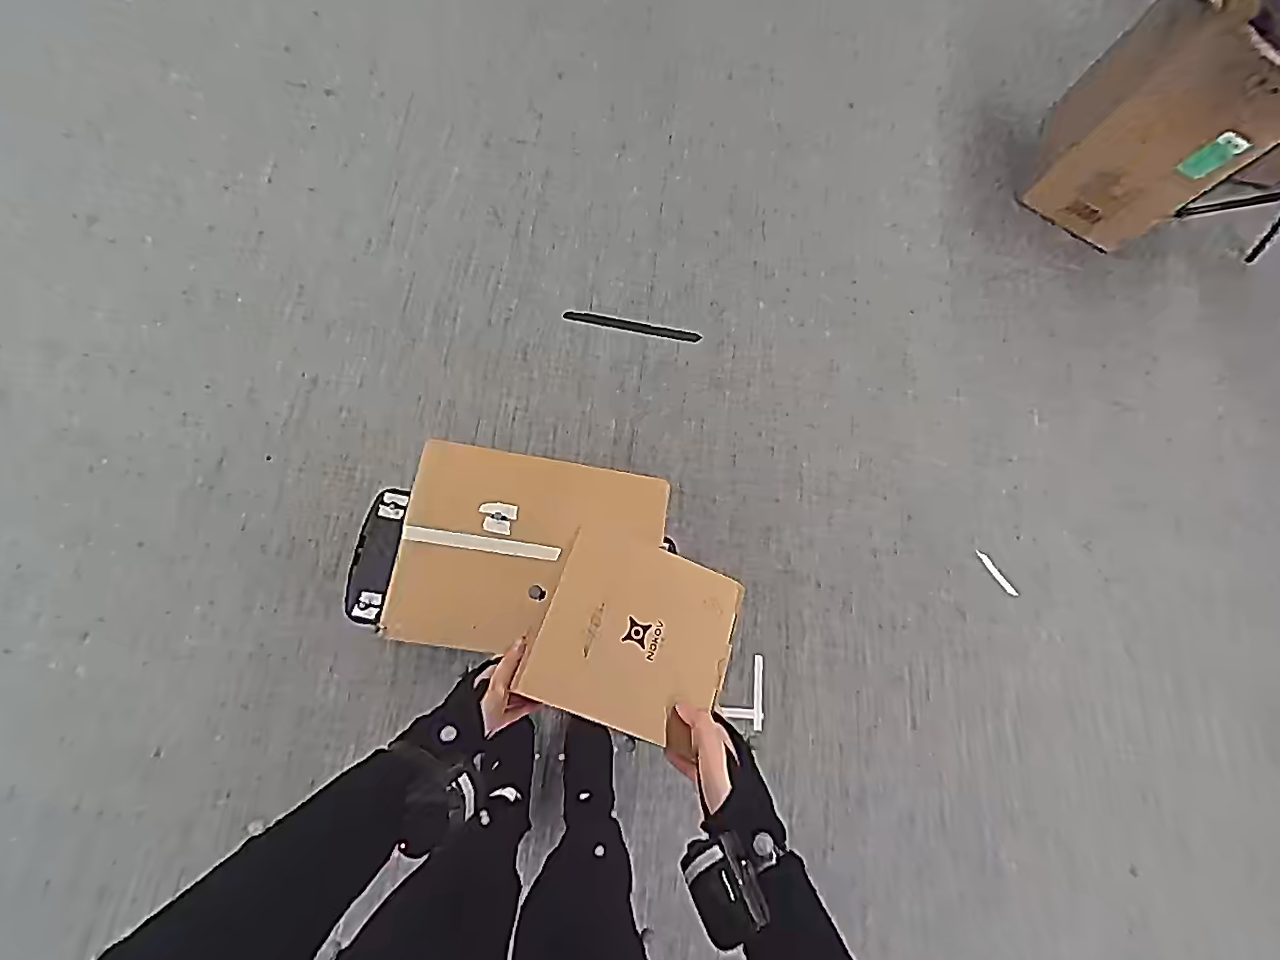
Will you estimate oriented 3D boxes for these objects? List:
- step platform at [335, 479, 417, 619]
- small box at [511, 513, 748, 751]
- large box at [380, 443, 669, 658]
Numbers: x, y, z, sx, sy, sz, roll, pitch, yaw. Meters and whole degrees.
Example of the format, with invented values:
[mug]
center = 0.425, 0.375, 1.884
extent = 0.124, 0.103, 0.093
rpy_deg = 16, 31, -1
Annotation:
[step platform]
center = -0.278, 0.222, 1.195
extent = 0.684, 0.204, 0.286
rpy_deg = 15, 73, -5
[small box]
center = -0.019, 0.157, 0.562
extent = 0.179, 0.176, 0.168
rpy_deg = 24, 66, -8
[large box]
center = -0.183, 0.153, 0.980
extent = 0.408, 0.320, 0.320
rpy_deg = 10, 73, -6
